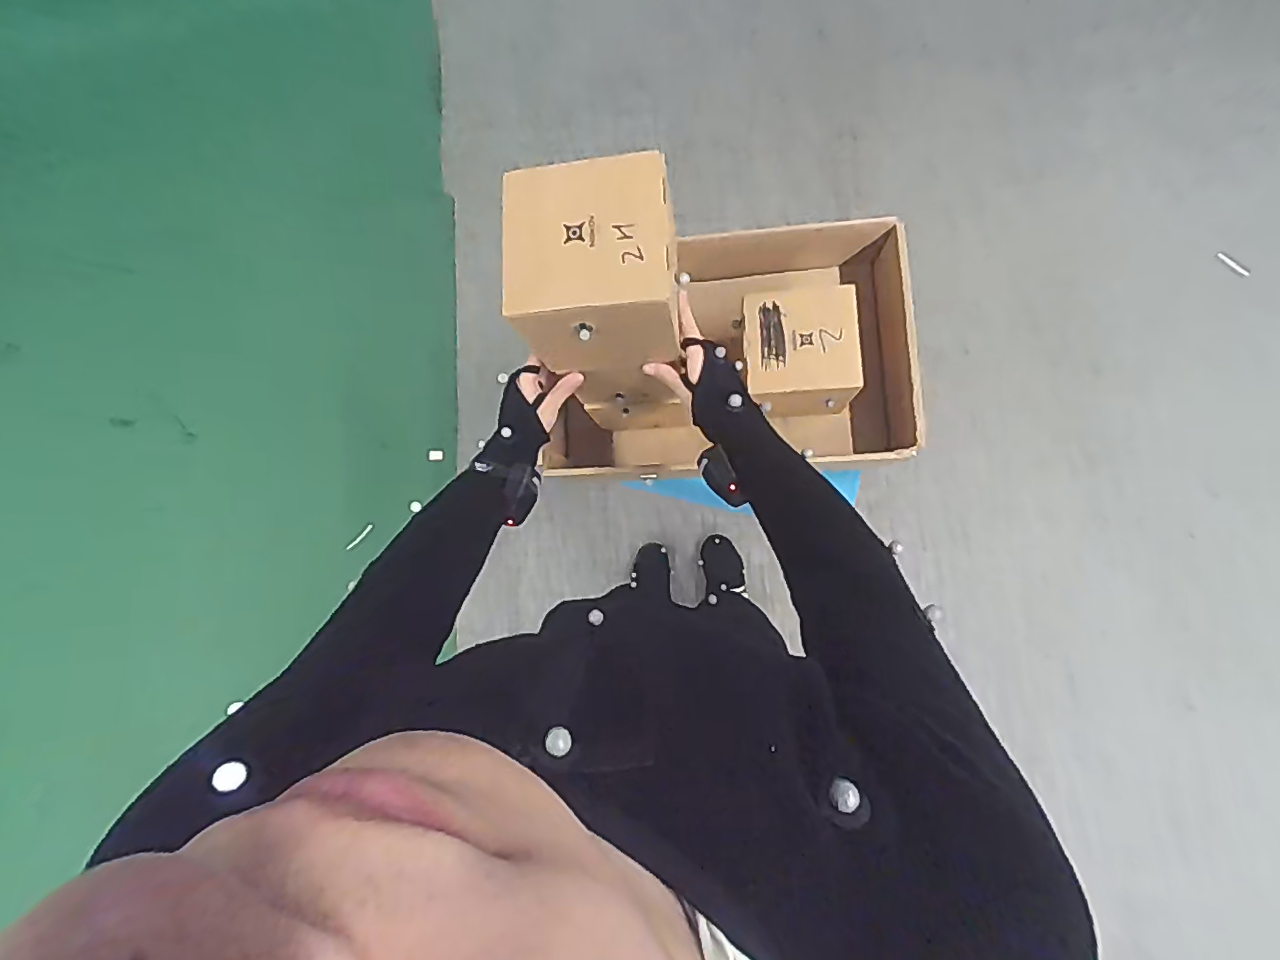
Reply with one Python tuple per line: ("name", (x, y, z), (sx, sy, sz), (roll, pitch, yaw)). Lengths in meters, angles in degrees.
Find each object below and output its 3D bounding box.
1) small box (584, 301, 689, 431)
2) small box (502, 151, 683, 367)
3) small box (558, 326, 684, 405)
("small box", (0.000, -0.193, 0.951), (0.168, 0.176, 0.179), (-3, 81, 8))
("small box", (-0.045, -0.240, 0.630), (0.179, 0.176, 0.168), (-3, 82, 8))
("small box", (-0.023, -0.221, 0.791), (0.168, 0.176, 0.179), (-3, 82, 7))
